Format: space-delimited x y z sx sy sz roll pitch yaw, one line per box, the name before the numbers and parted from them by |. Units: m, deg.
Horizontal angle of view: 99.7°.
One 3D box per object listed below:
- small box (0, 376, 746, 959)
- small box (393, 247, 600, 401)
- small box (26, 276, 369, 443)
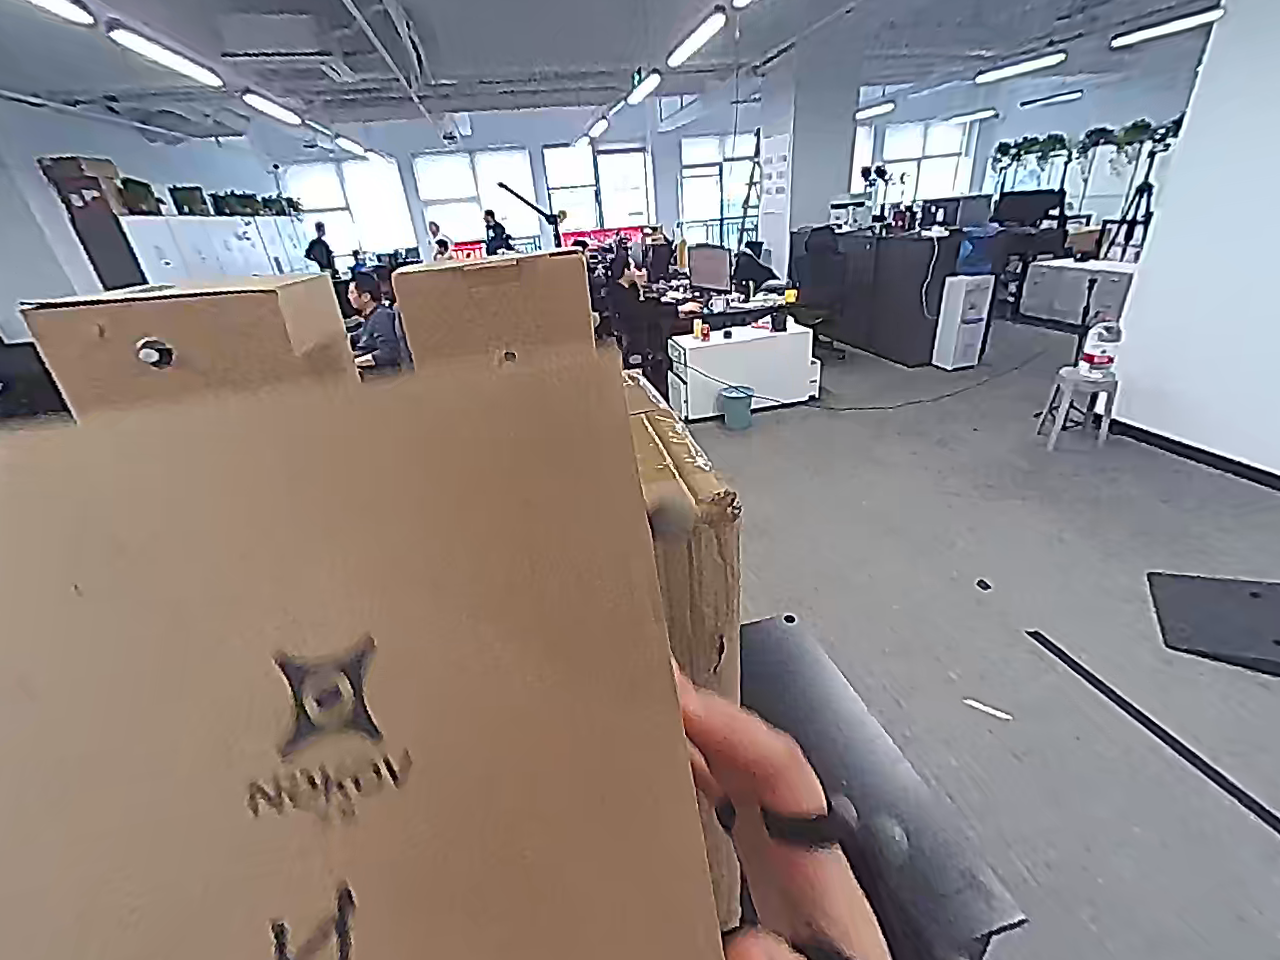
small box | -0.069 0.083 0.205 0.168 0.179 0.176 -9 -12 -4
small box | -0.136 -0.141 0.568 0.168 0.176 0.179 -10 26 -8
small box | -0.385 -0.095 0.519 0.179 0.176 0.168 -8 26 -11
